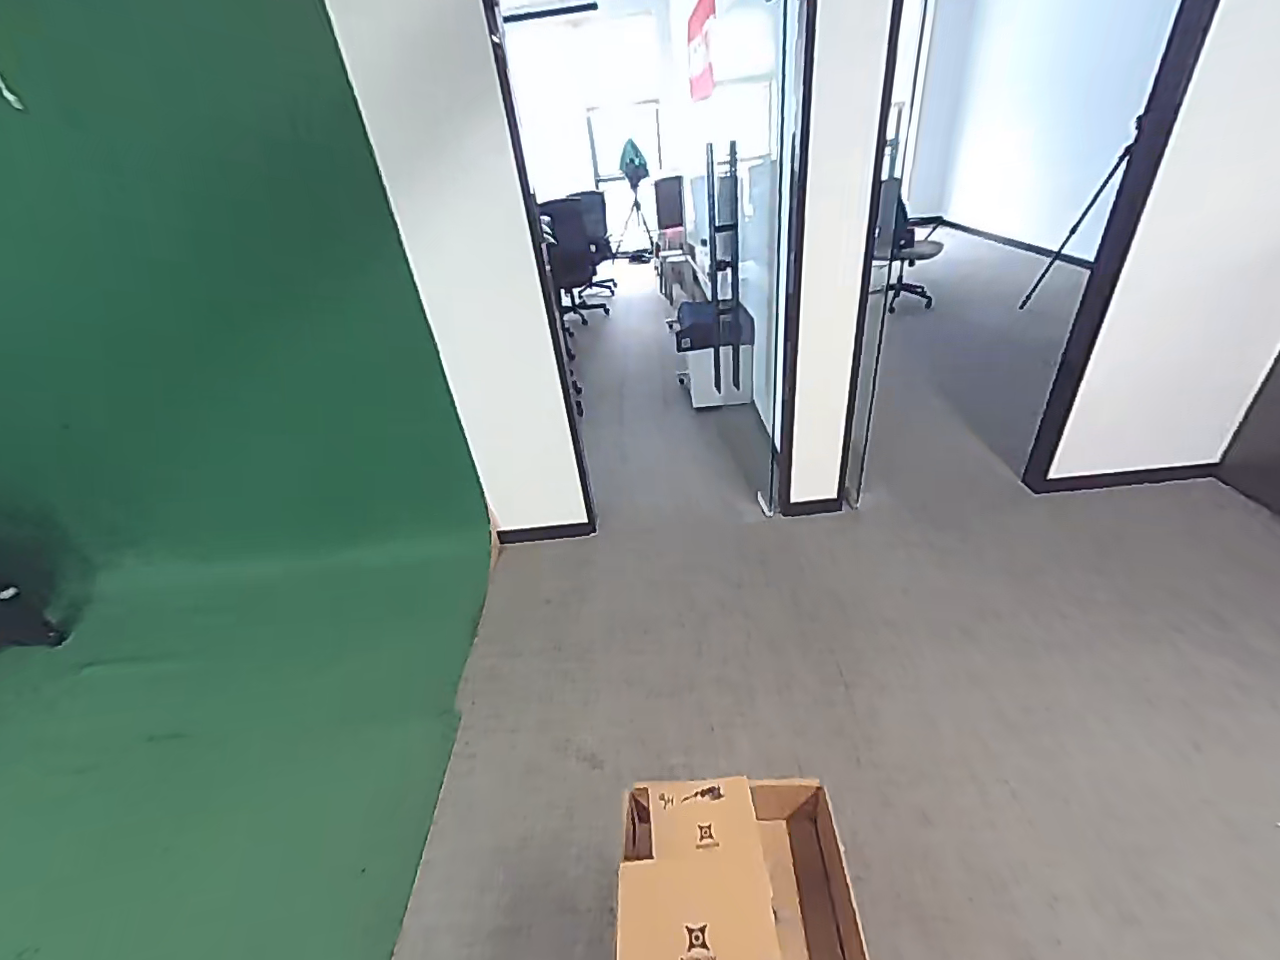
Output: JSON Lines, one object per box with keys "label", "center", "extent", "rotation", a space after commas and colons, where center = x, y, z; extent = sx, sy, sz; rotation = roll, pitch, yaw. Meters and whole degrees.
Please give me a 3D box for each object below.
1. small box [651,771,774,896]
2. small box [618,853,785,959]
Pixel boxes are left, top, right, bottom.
{"label": "small box", "center": [0.111, 0.599, 0.860], "extent": [0.168, 0.176, 0.179], "rotation": [-7, 35, 1]}
{"label": "small box", "center": [0.070, 0.537, 0.571], "extent": [0.168, 0.176, 0.179], "rotation": [-8, 27, 5]}
